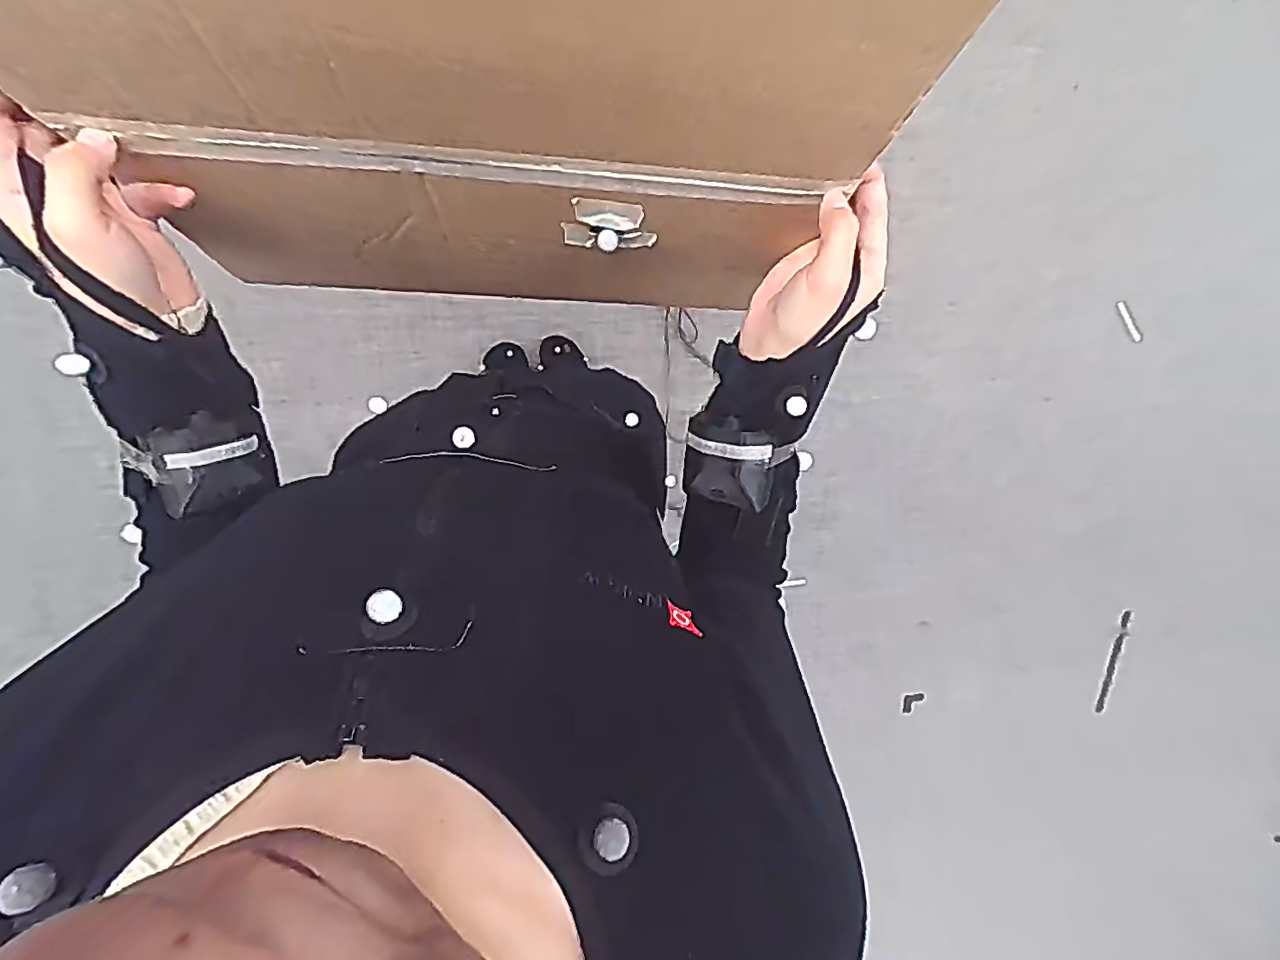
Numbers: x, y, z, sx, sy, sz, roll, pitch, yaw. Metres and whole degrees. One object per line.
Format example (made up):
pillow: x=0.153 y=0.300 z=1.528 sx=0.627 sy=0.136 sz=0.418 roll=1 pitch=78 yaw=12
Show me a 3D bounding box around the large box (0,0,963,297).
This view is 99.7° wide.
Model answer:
large box: x=-0.084 y=-0.324 z=0.307 sx=0.408 sy=0.320 sz=0.320 roll=0 pitch=83 yaw=-7
